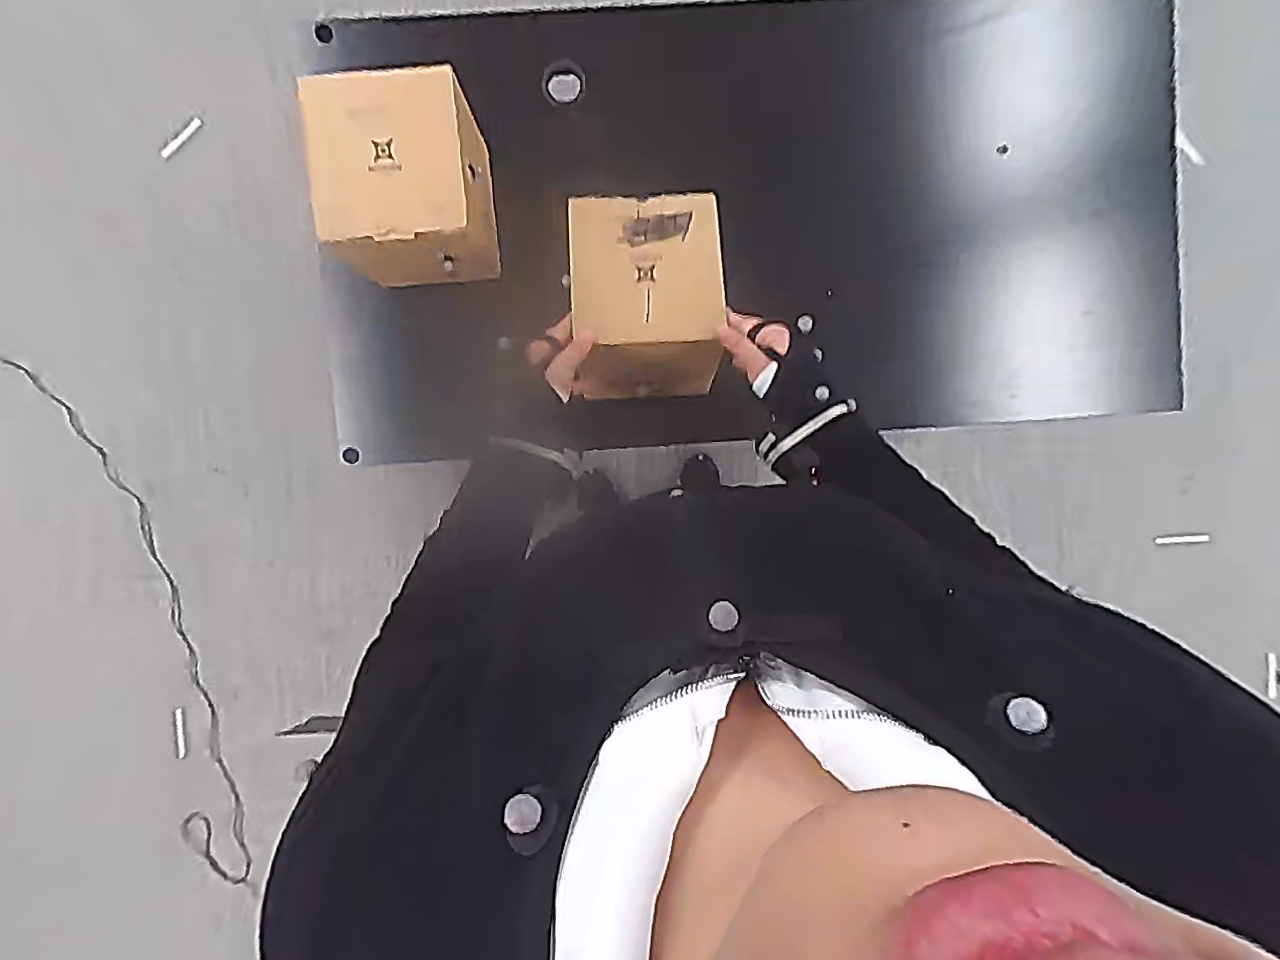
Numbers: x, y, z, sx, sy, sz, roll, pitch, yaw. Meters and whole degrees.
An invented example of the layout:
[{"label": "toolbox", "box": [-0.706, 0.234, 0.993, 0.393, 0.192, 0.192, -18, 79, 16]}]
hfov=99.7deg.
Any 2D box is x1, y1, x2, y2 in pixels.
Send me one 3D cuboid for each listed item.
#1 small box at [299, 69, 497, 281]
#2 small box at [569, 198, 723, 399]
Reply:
[{"label": "small box", "box": [-0.282, -0.357, 0.669, 0.168, 0.176, 0.179, -6, 93, -3]}, {"label": "small box", "box": [0.003, -0.213, 0.665, 0.168, 0.176, 0.179, -3, 79, -1]}]
